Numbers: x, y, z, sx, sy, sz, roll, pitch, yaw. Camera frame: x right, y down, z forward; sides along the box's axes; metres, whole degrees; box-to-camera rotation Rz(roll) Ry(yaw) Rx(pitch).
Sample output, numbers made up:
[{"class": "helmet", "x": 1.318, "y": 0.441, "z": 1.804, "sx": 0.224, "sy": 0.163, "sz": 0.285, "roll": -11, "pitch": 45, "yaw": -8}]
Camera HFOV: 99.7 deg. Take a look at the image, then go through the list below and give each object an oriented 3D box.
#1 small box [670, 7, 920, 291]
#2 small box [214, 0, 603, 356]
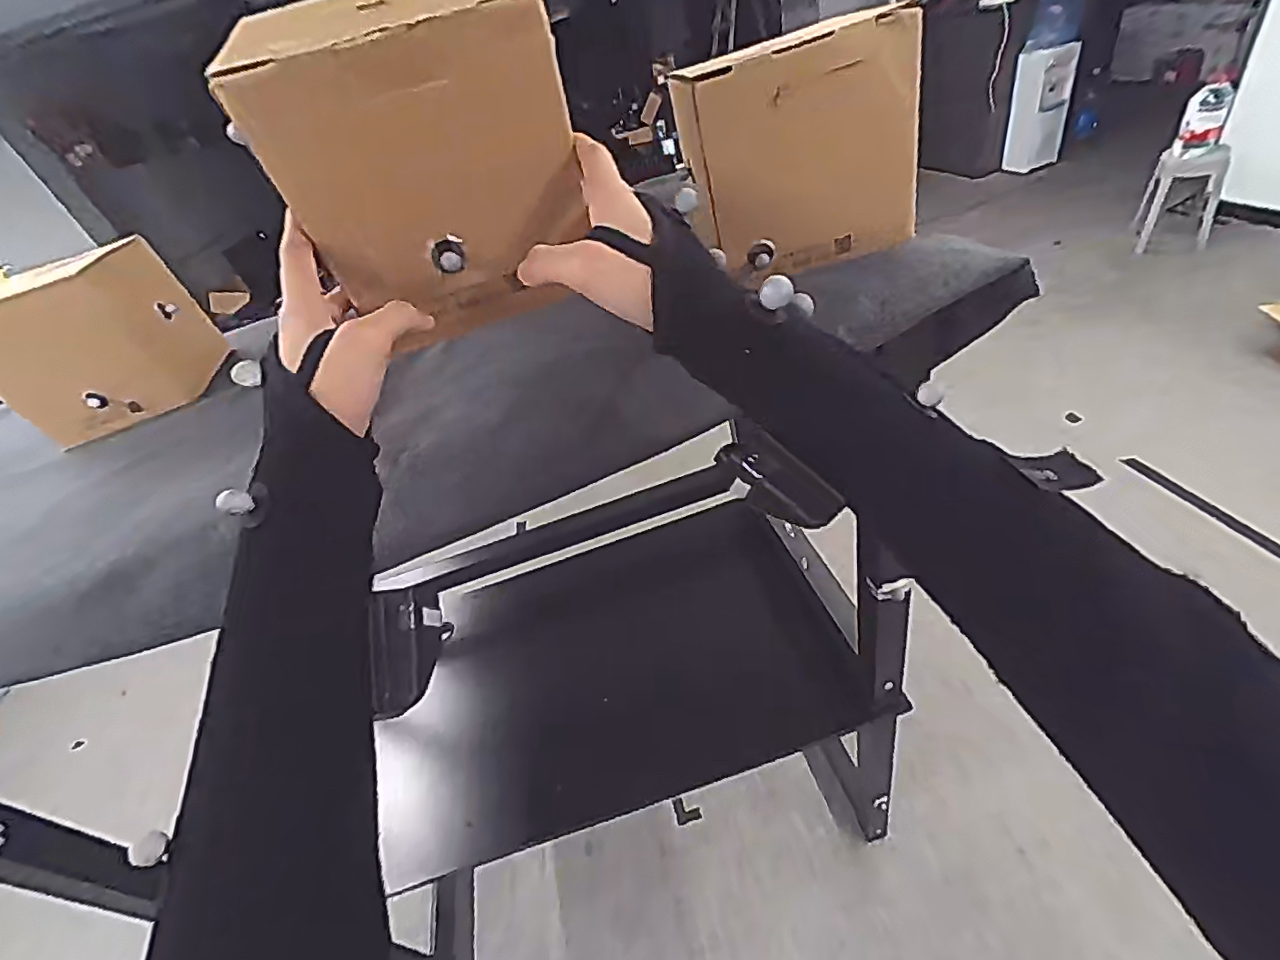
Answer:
[{"class": "small box", "x": 0.134, "y": -0.291, "z": 0.493, "sx": 0.168, "sy": 0.176, "sz": 0.179, "roll": -14, "pitch": 37, "yaw": 6}, {"class": "small box", "x": -0.139, "y": -0.217, "z": 0.372, "sx": 0.168, "sy": 0.176, "sz": 0.179, "roll": -22, "pitch": 51, "yaw": -7}]
